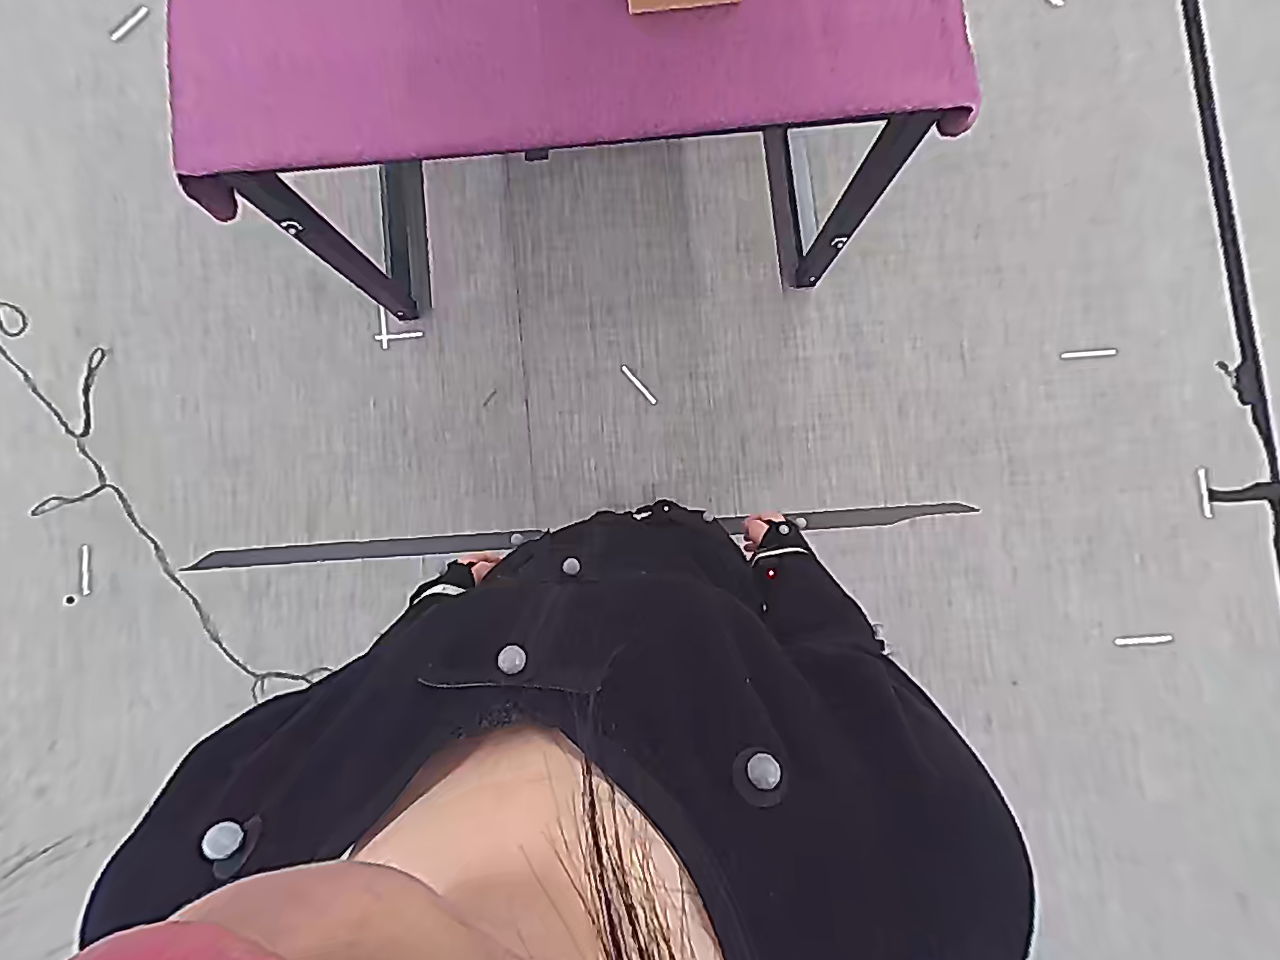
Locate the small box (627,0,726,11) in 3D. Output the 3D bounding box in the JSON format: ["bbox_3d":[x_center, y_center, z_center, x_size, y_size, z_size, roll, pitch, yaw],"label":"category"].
[{"bbox_3d":[0.062,-0.804,0.748,0.179,0.176,0.168,-6,86,1],"label":"small box"}]
